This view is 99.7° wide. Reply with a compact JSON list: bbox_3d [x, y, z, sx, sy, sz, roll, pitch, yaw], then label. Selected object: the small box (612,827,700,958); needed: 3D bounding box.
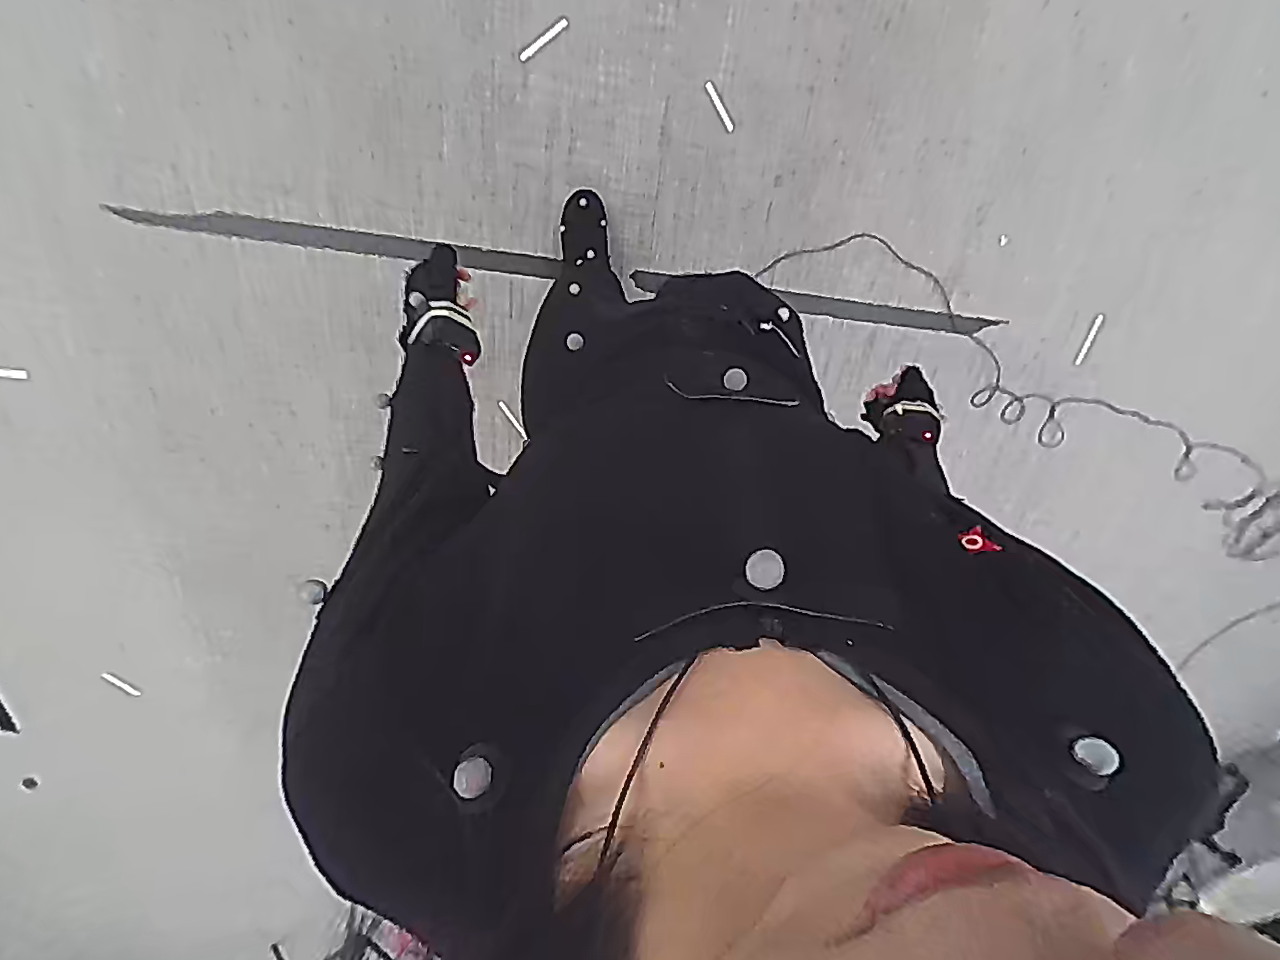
[{"bbox_3d":[0.026,0.877,1.156,0.168,0.176,0.179,1,116,-6],"label":"small box"}]
